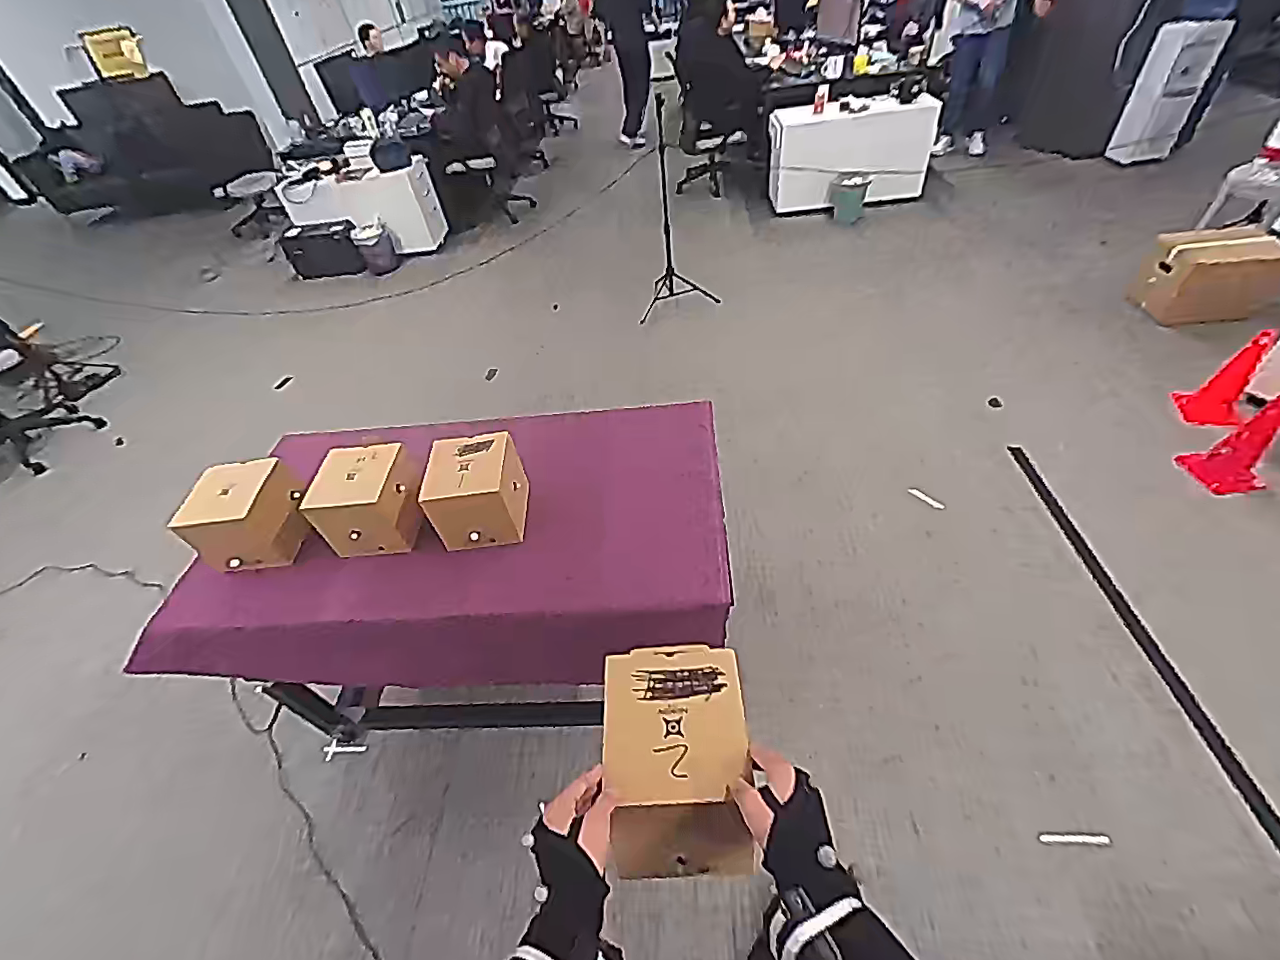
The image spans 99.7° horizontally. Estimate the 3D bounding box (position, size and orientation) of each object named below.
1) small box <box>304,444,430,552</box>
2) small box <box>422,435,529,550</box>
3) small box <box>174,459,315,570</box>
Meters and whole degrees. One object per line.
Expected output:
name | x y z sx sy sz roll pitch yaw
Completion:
small box | -0.584 0.046 1.189 0.168 0.176 0.179 -4 45 5
small box | -0.343 0.028 1.170 0.168 0.176 0.179 -7 46 2
small box | -0.856 0.078 1.201 0.168 0.176 0.179 -6 45 3
